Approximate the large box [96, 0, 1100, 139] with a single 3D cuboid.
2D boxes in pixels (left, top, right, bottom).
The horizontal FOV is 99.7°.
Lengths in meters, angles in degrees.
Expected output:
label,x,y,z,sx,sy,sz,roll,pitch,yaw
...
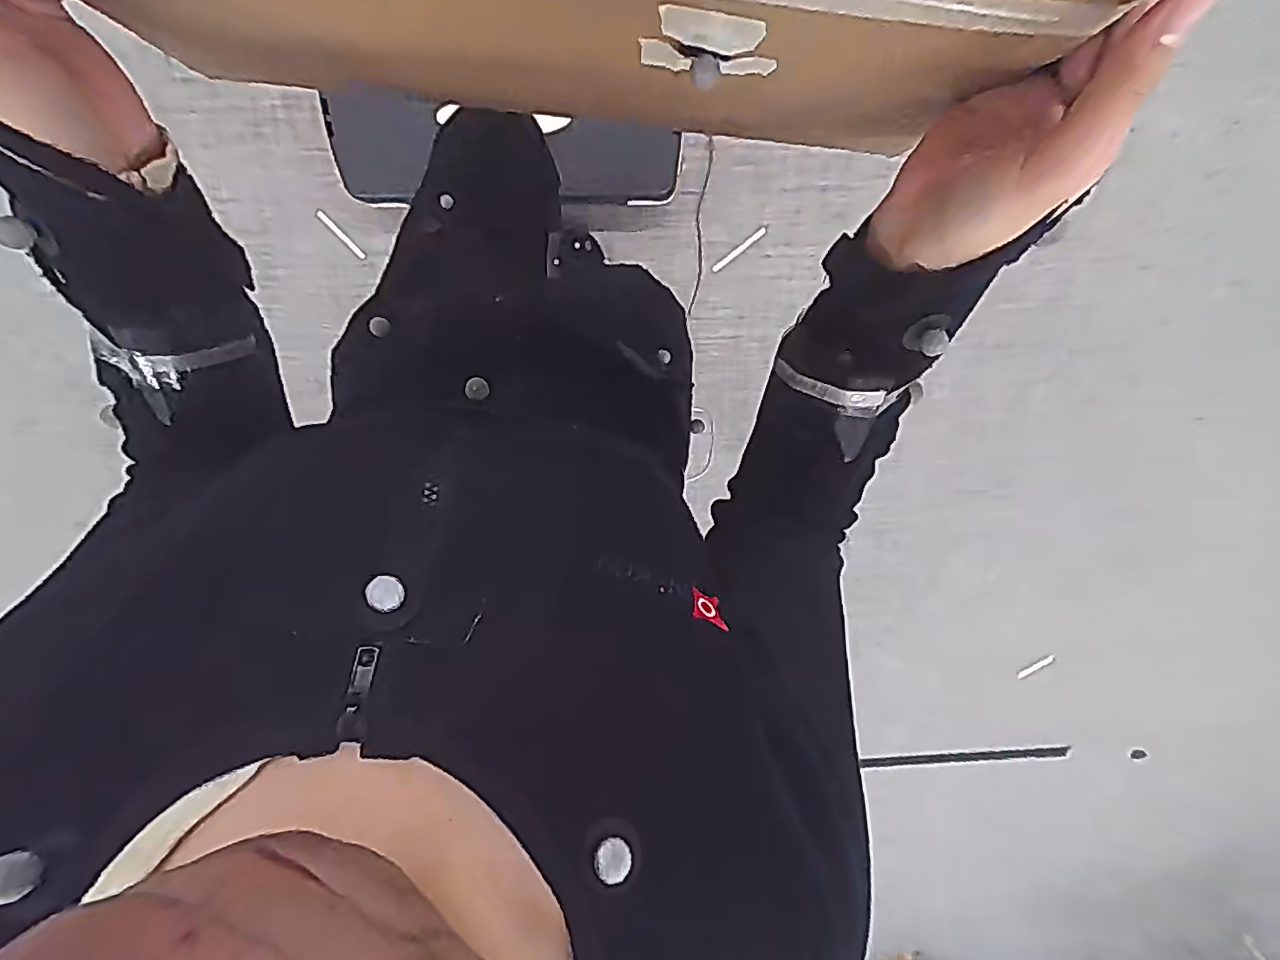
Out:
label,x,y,z,sx,sy,sz,roll,pitch,yaw
large box,-0.026,-0.327,0.137,0.408,0.320,0.320,3,106,-4
